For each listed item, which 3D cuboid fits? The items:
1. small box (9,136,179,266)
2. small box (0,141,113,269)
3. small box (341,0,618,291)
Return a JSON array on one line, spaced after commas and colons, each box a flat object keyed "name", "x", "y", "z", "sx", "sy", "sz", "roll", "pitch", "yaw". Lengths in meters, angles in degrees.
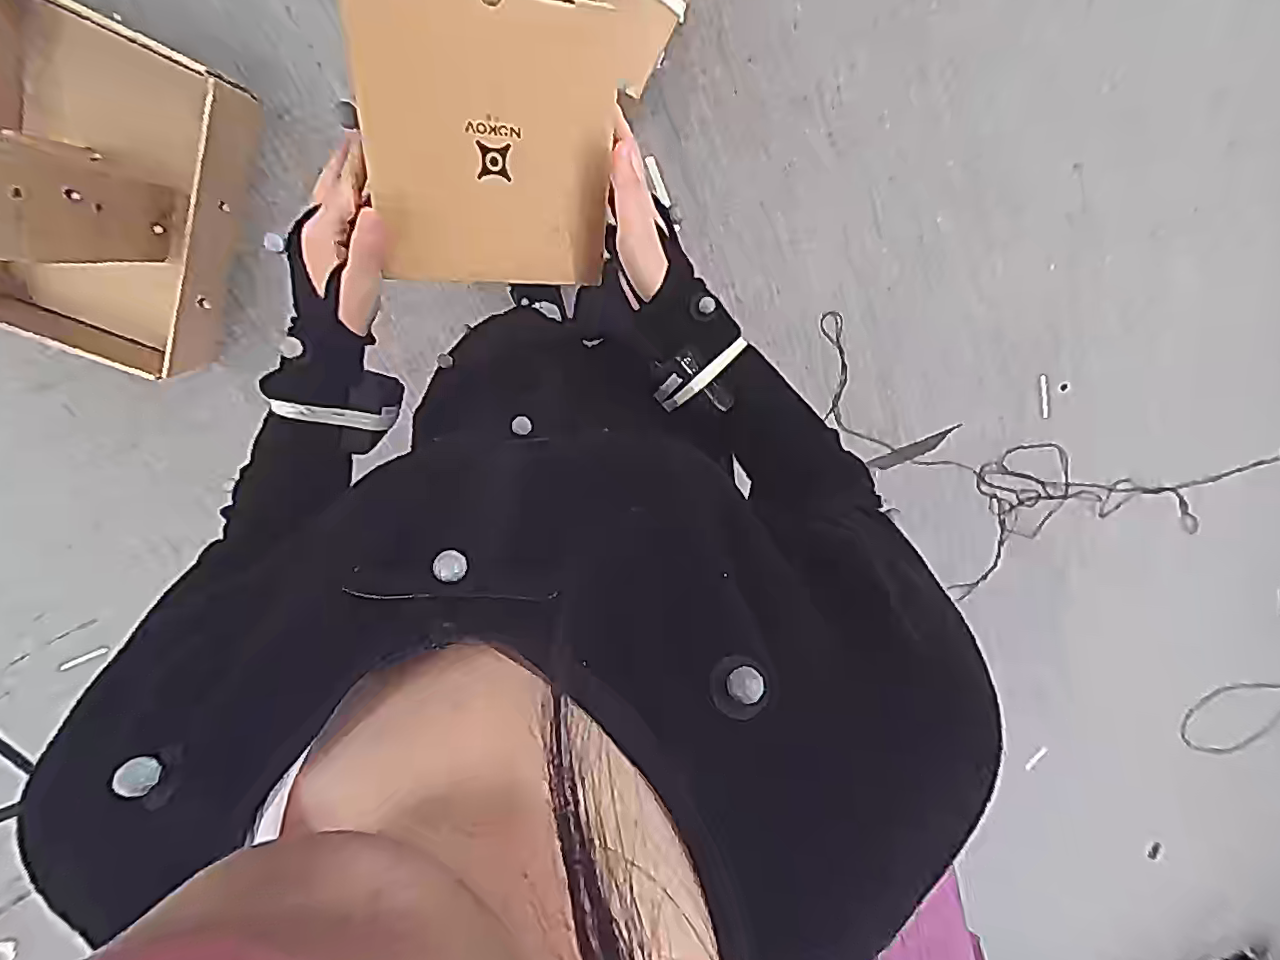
[{"name": "small box", "x": -1.079, "y": -0.539, "z": 1.074, "sx": 0.179, "sy": 0.176, "sz": 0.168, "roll": 20, "pitch": 108, "yaw": -16}, {"name": "small box", "x": -1.064, "y": -0.475, "z": 0.926, "sx": 0.179, "sy": 0.176, "sz": 0.168, "roll": 17, "pitch": 107, "yaw": -13}, {"name": "small box", "x": -0.124, "y": -0.269, "z": 0.433, "sx": 0.168, "sy": 0.176, "sz": 0.179, "roll": -4, "pitch": 128, "yaw": -17}]
